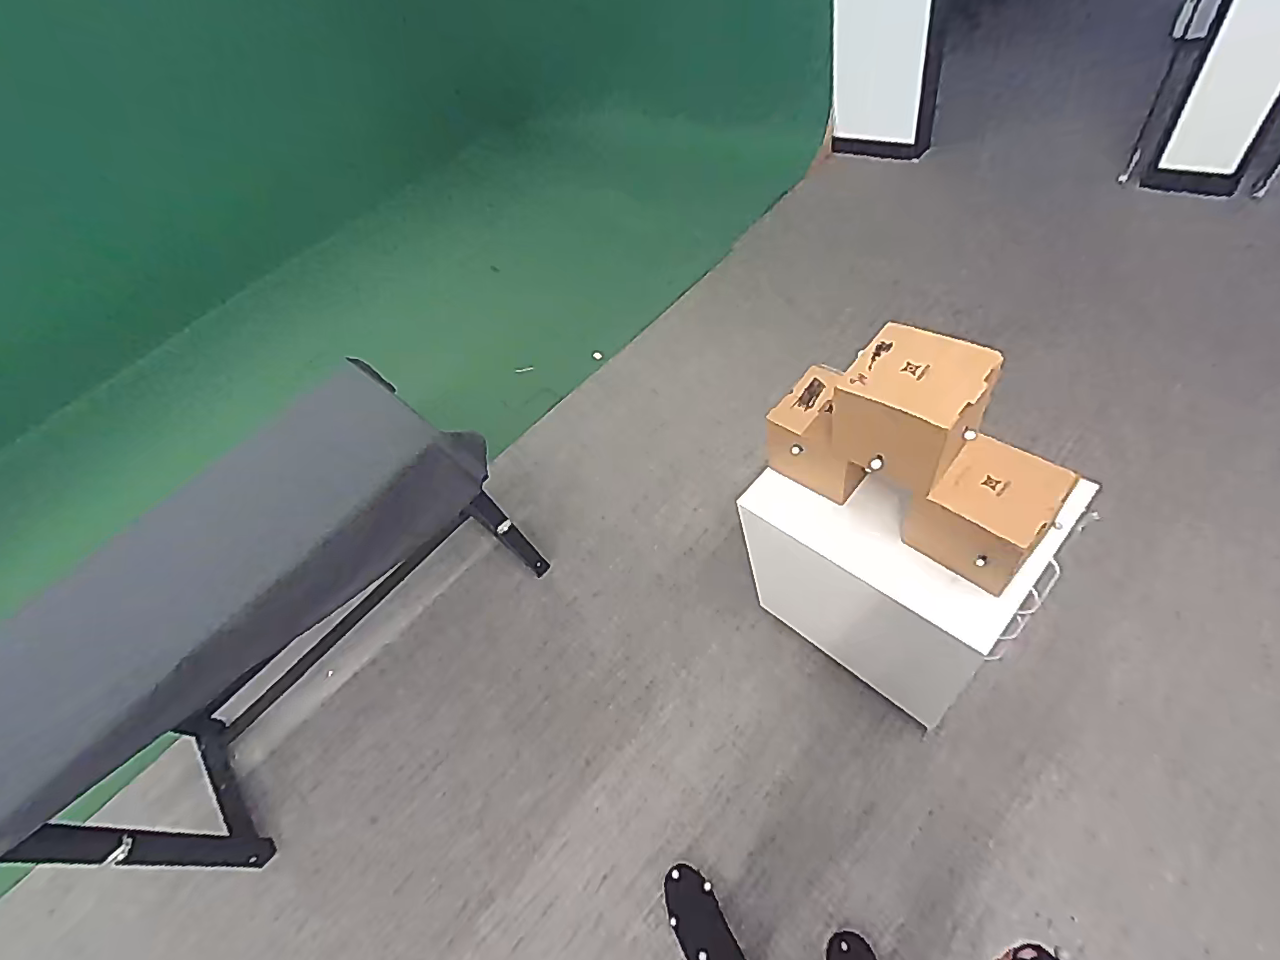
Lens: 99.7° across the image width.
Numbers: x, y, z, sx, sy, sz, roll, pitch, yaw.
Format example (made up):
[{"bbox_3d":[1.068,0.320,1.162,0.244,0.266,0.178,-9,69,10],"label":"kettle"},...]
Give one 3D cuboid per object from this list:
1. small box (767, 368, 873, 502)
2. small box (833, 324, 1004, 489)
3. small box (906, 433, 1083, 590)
[{"bbox_3d":[0.372,-0.084,1.067,0.179,0.176,0.168,33,70,33],"label":"small box"},{"bbox_3d":[0.428,-0.110,0.858,0.179,0.176,0.168,32,69,33],"label":"small box"},{"bbox_3d":[0.571,0.058,0.896,0.168,0.176,0.179,-43,51,-16],"label":"small box"}]
